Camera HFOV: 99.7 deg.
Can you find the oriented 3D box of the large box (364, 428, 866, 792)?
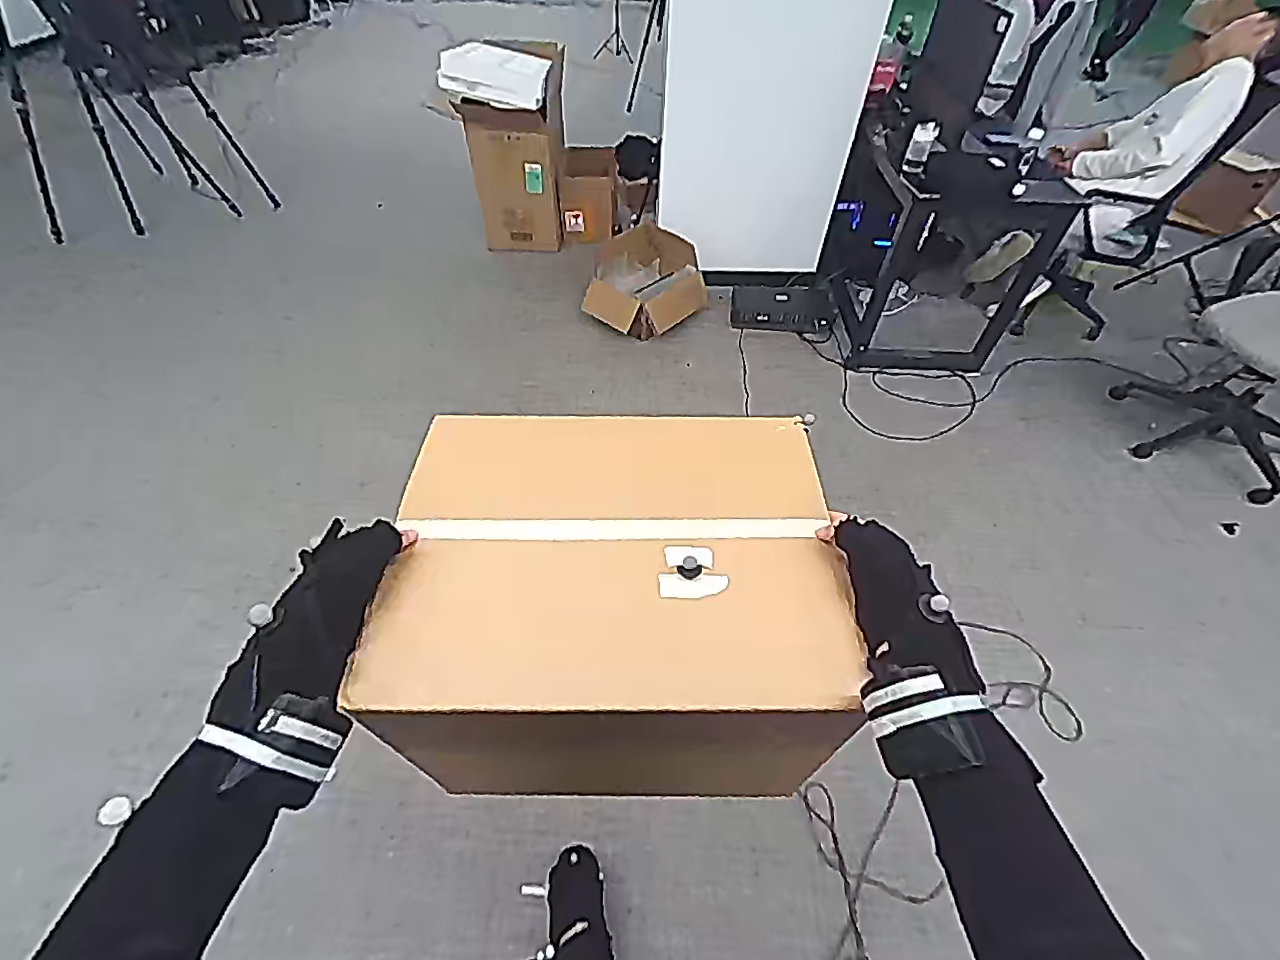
[{"bbox_3d":[-0.022,0.154,0.630,0.408,0.320,0.320,0,49,0],"label":"large box"}]
